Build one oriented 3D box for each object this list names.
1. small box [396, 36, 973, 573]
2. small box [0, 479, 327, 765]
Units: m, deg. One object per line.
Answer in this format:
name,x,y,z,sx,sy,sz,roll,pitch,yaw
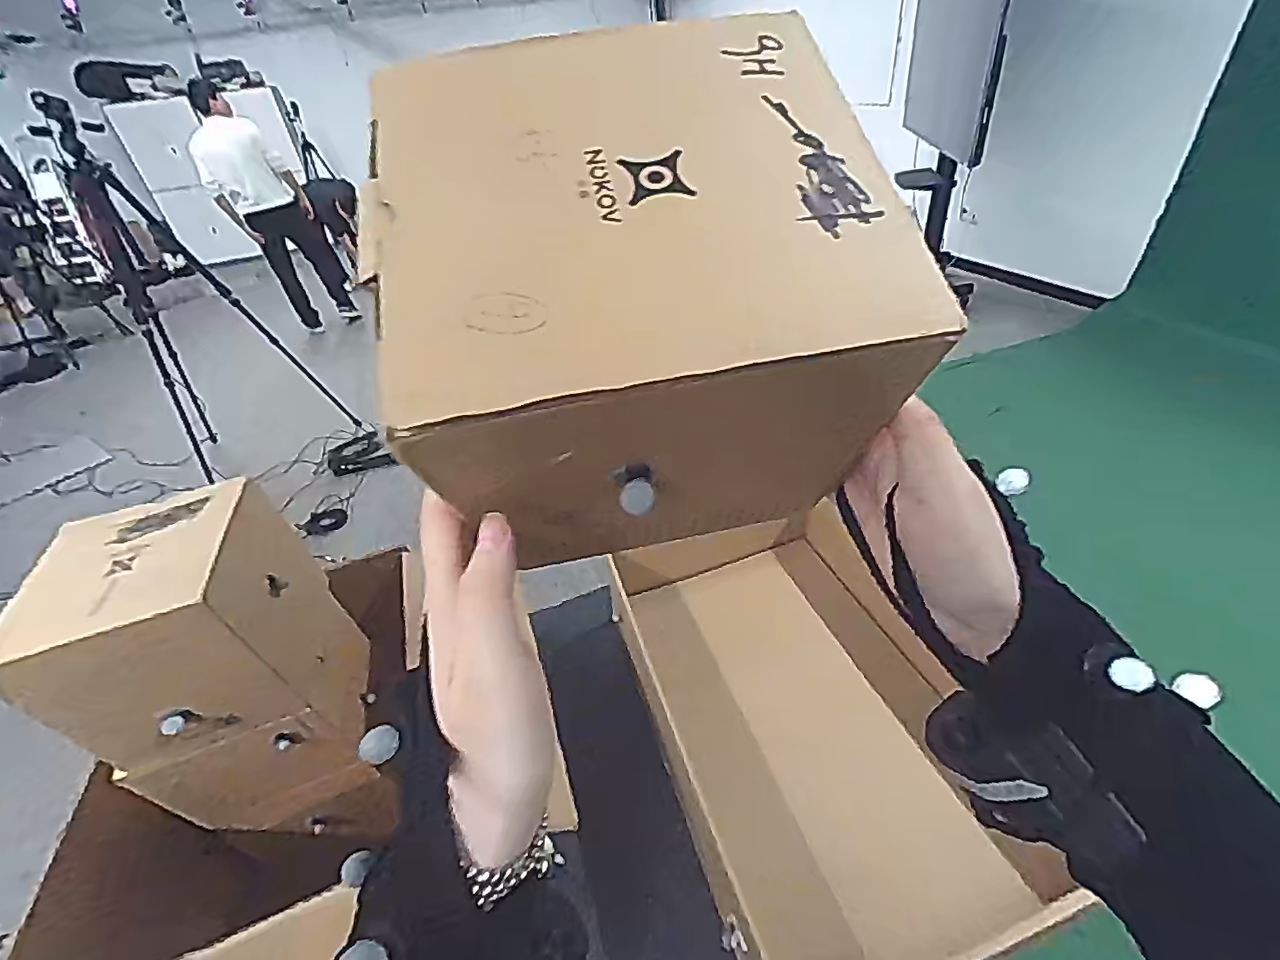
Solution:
small box,0.005,-0.063,0.263,0.179,0.176,0.168,-11,69,-3
small box,-0.429,0.132,0.520,0.168,0.176,0.179,-18,41,-10
